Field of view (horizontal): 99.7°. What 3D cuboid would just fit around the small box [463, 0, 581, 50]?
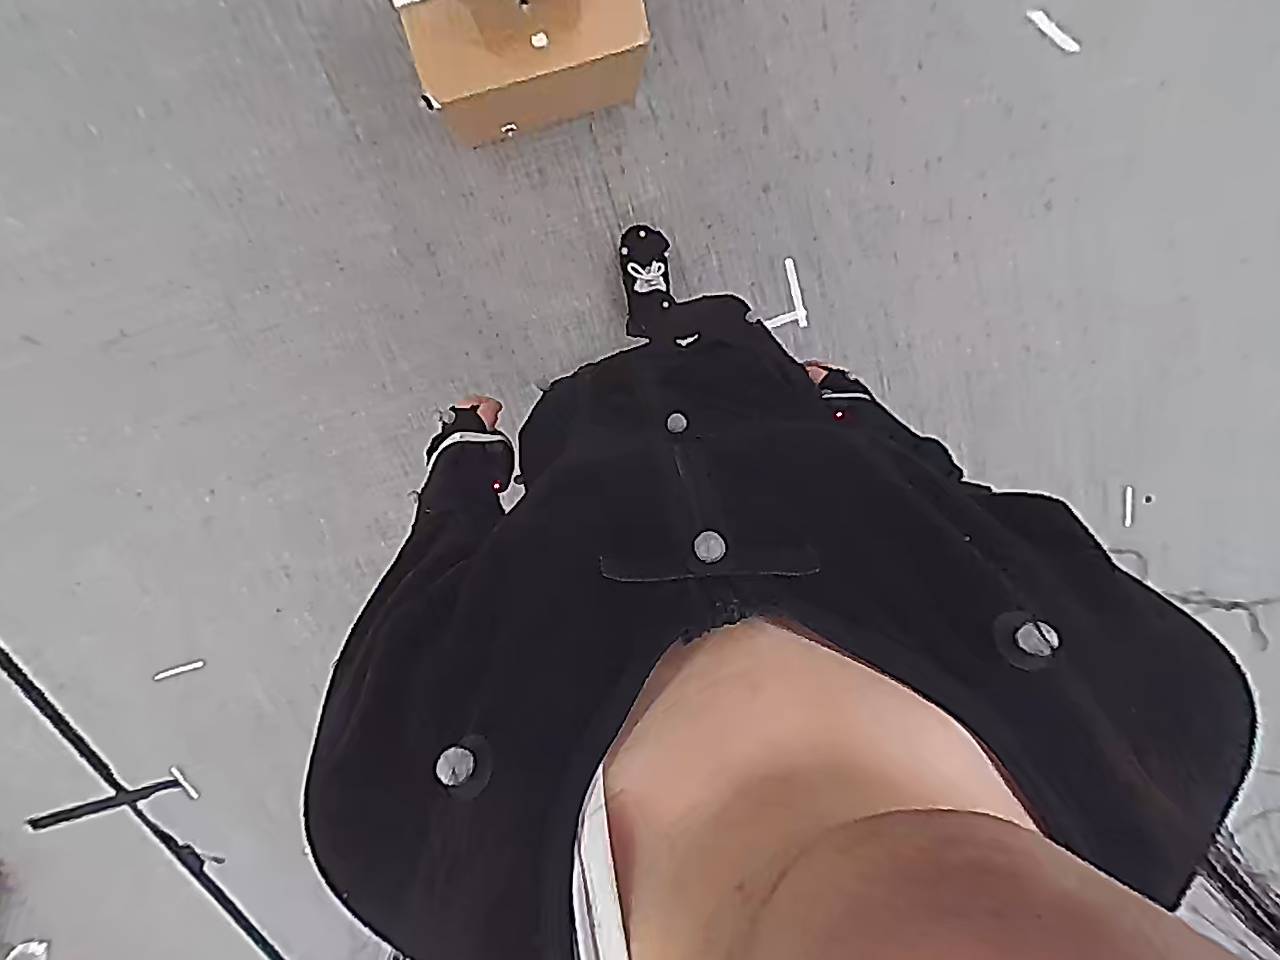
[{"bbox_3d":[-0.196,-0.799,0.821,0.179,0.176,0.168,-18,111,1],"label":"small box"}]
